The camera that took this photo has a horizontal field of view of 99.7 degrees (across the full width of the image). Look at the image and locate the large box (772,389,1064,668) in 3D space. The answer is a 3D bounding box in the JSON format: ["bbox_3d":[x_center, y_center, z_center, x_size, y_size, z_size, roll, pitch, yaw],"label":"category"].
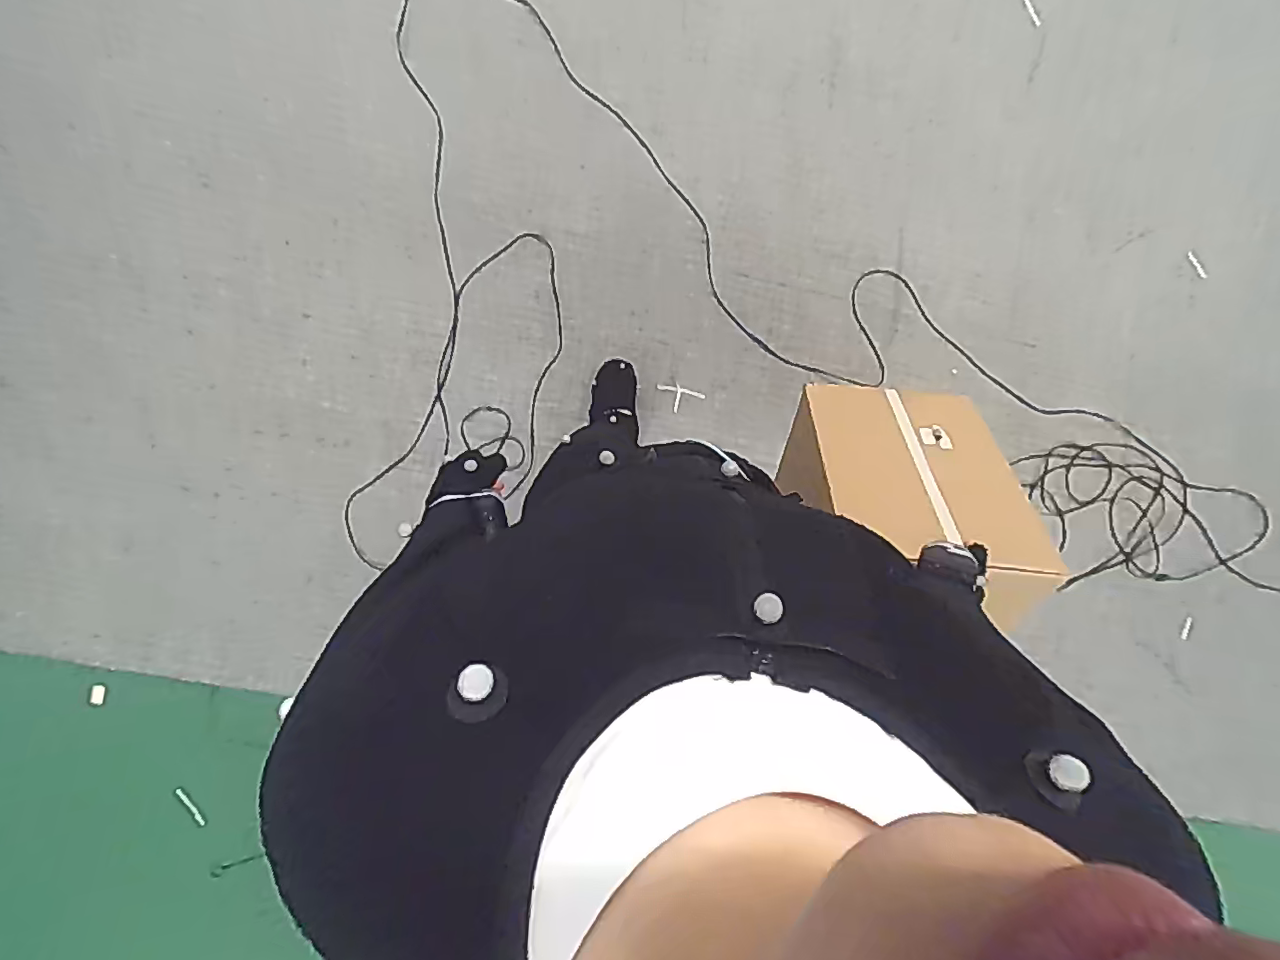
[{"bbox_3d":[0.443,0.084,0.992,0.320,0.408,0.320,6,135,0],"label":"large box"}]
